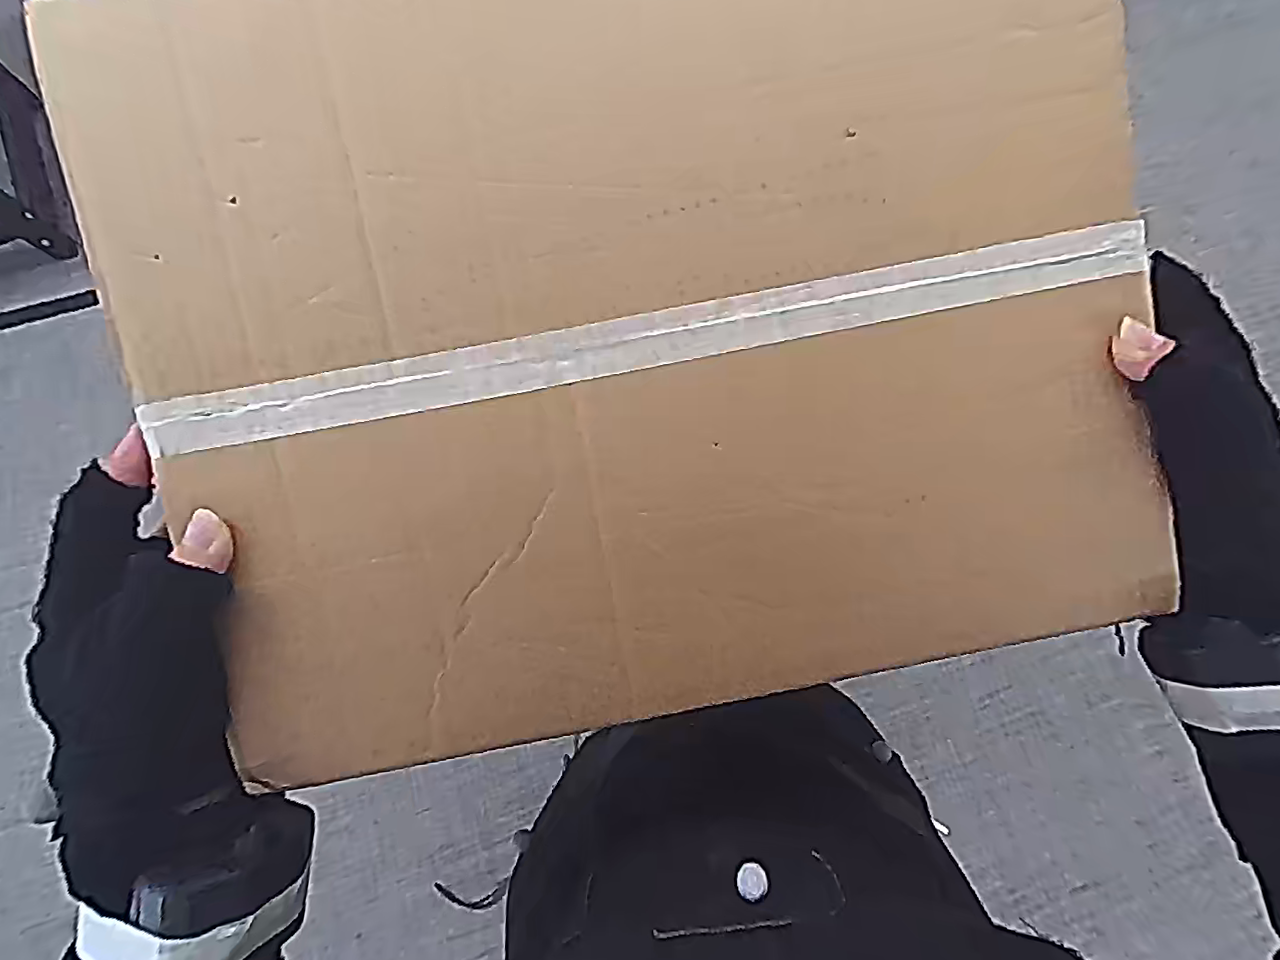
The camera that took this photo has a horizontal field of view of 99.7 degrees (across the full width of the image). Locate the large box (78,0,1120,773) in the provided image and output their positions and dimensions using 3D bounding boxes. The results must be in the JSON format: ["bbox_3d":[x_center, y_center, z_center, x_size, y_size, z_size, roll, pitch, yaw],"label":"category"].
[{"bbox_3d":[-0.003,-0.071,0.378,0.408,0.320,0.320,-11,95,-2],"label":"large box"}]
